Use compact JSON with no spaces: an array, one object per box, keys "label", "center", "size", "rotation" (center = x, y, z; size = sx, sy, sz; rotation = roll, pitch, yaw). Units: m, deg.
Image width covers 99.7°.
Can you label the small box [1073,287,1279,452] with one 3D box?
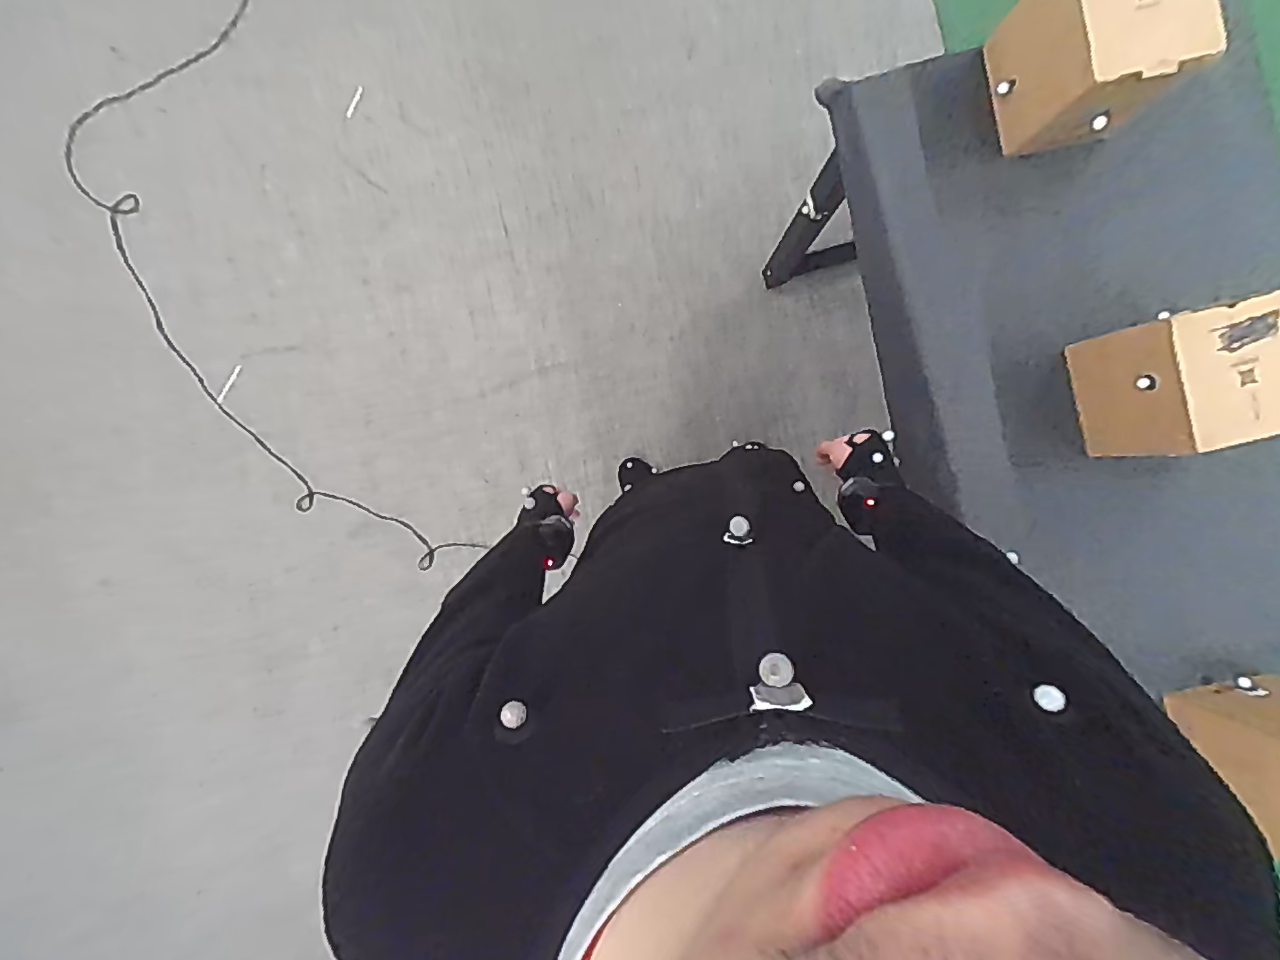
[{"label":"small box","center":[0.744,-0.140,0.740],"size":[0.168,0.176,0.179],"rotation":[-13,92,1]}]

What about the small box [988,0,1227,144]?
[{"label":"small box","center":[0.612,-0.588,0.730],"size":[0.168,0.176,0.179],"rotation":[-12,92,0]}]
